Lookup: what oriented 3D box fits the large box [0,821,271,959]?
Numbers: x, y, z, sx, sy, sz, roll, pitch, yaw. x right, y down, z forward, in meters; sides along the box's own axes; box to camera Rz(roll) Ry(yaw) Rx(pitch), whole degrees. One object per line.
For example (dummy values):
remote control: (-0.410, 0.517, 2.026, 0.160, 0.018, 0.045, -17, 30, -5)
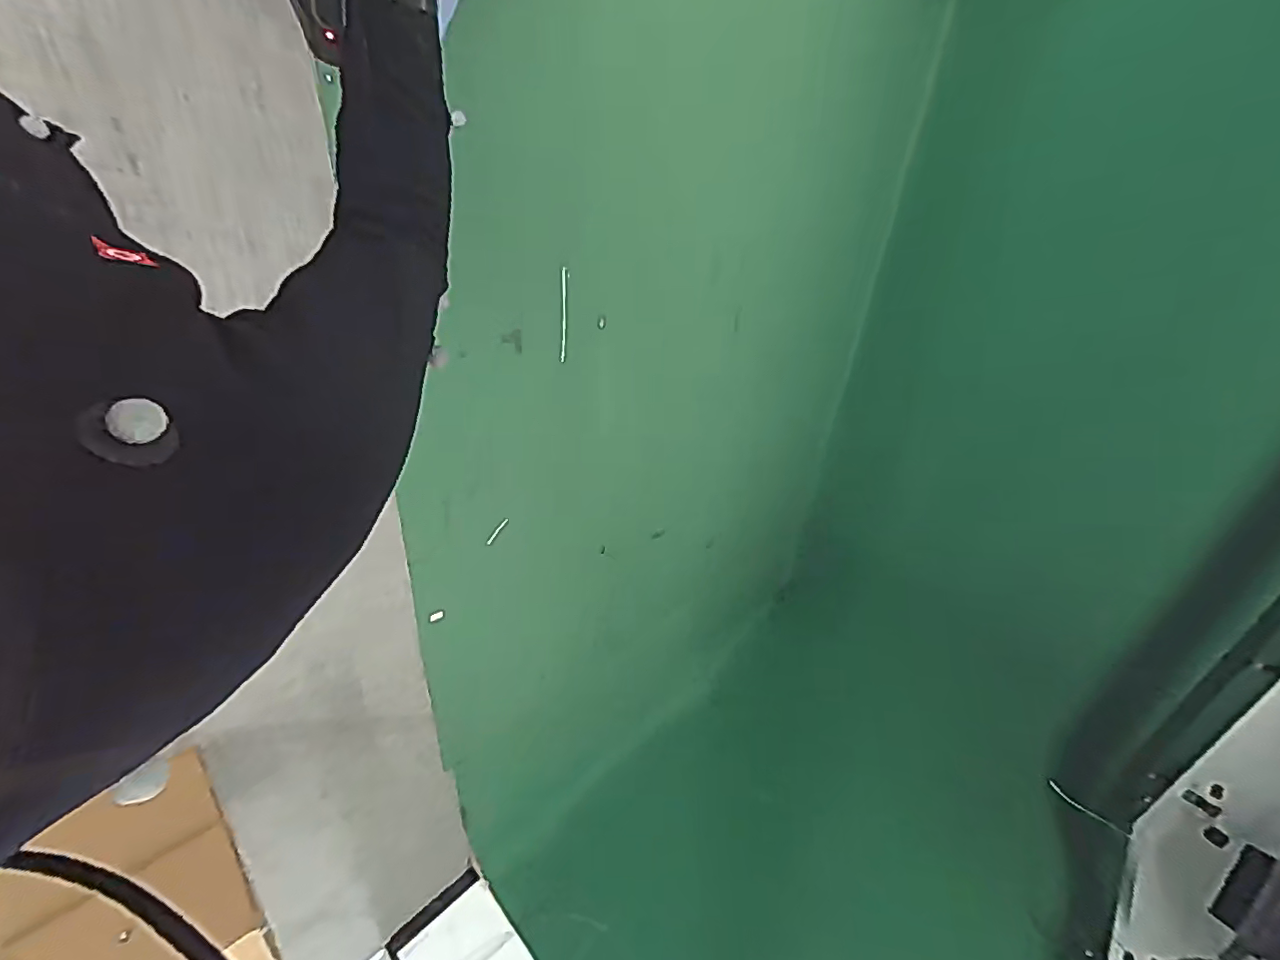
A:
large box: (-1.099, 1.076, 1.177, 0.408, 0.320, 0.320, -23, 129, -42)
